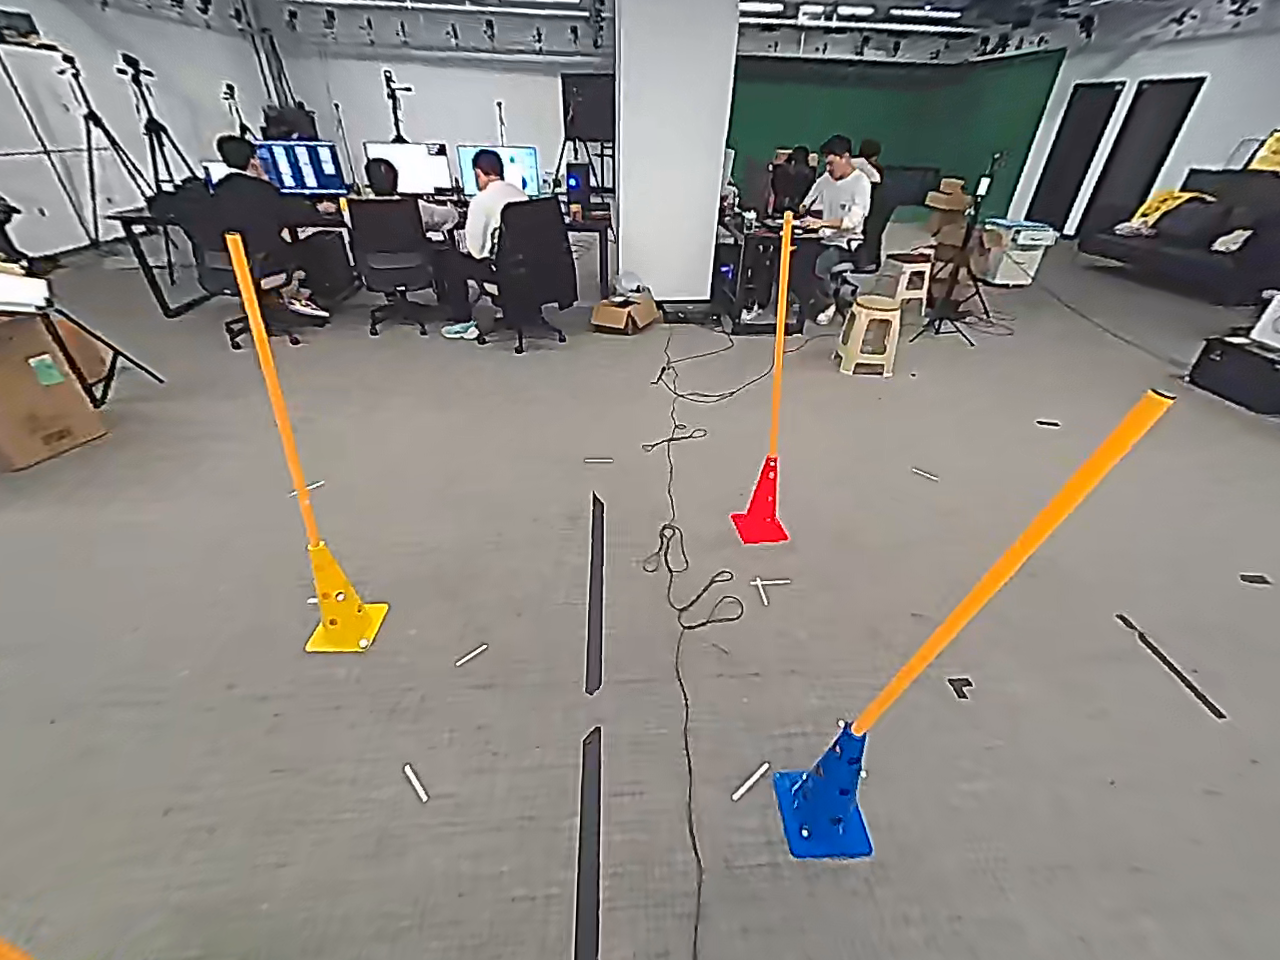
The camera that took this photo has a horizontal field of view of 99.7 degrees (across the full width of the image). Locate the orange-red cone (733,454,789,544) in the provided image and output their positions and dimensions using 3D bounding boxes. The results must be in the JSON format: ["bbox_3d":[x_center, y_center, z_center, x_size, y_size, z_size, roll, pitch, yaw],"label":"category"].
[{"bbox_3d":[0.505,0.056,2.167,0.199,0.360,0.198,-5,33,-7],"label":"orange-red cone"}]

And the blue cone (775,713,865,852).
[{"bbox_3d":[0.447,0.677,1.247,0.193,0.380,0.192,1,33,-1],"label":"blue cone"}]
